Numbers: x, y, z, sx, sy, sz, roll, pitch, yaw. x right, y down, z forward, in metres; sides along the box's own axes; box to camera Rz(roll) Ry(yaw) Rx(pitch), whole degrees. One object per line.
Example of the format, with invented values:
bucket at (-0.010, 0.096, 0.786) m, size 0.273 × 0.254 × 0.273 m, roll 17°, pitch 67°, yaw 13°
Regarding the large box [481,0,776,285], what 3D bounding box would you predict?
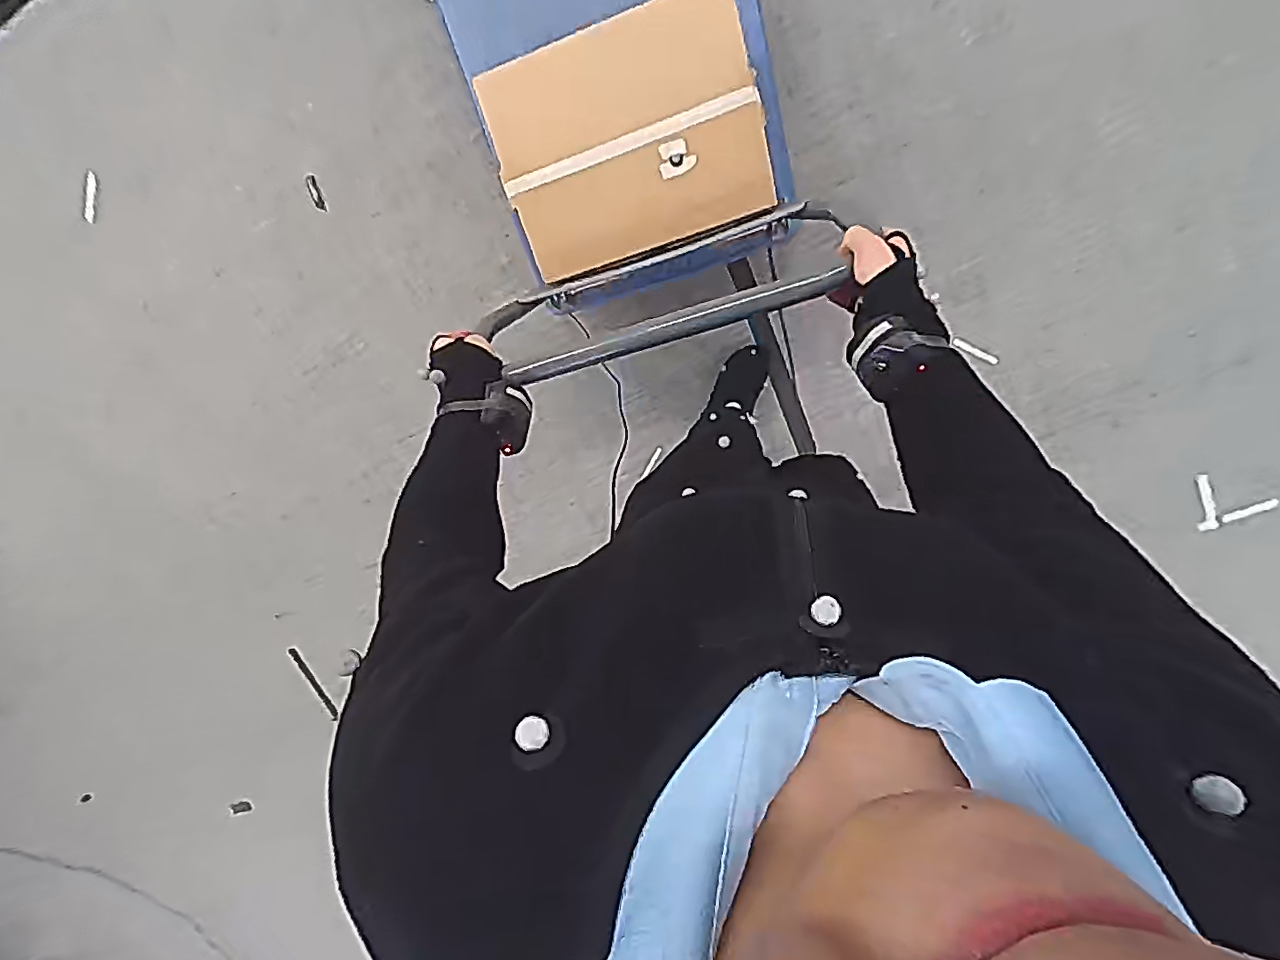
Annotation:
large box at (-0.005, -0.577, 0.984) m, size 0.408 × 0.320 × 0.320 m, roll -15°, pitch 111°, yaw 10°
